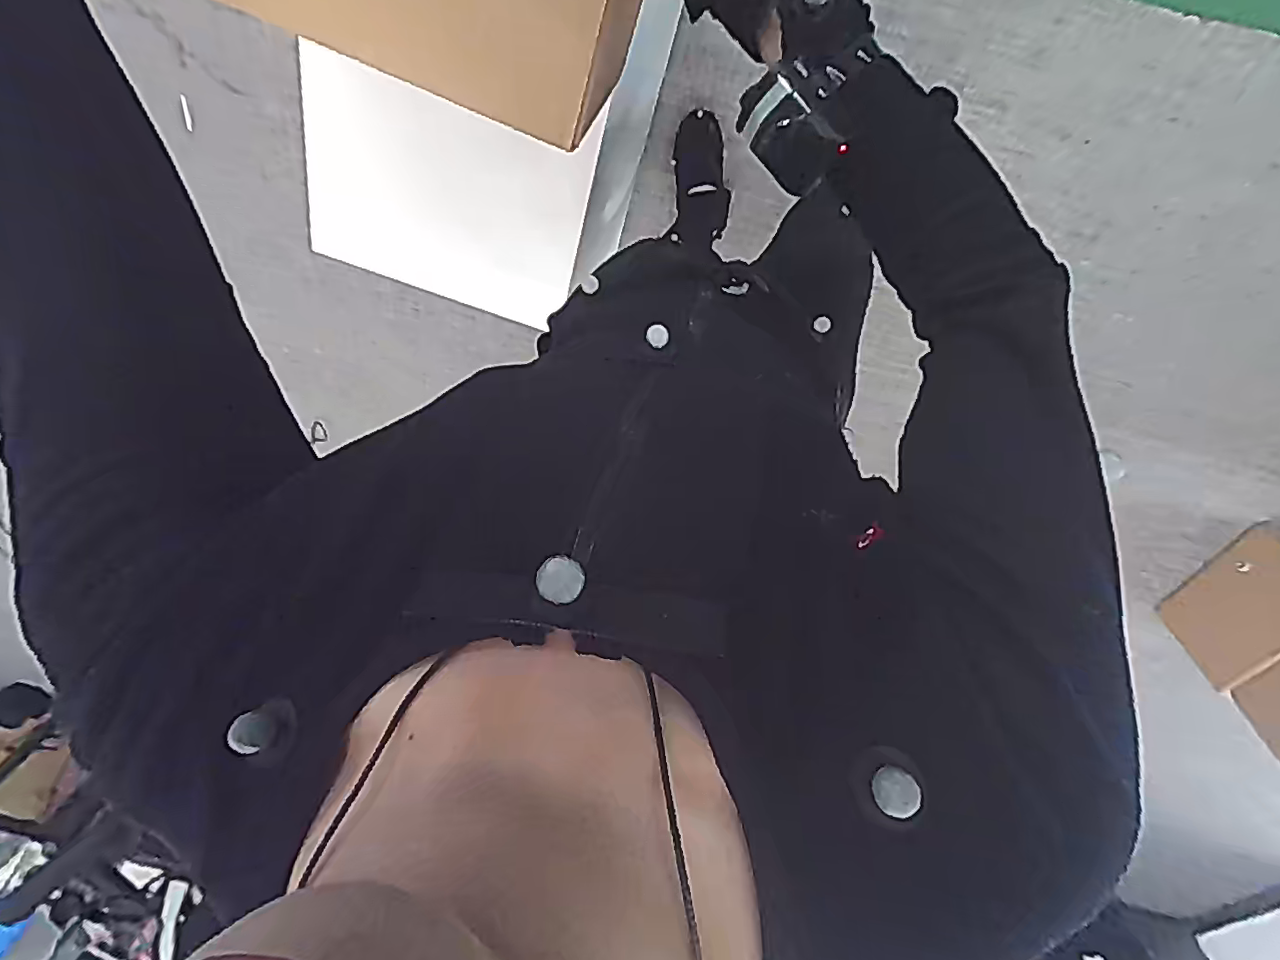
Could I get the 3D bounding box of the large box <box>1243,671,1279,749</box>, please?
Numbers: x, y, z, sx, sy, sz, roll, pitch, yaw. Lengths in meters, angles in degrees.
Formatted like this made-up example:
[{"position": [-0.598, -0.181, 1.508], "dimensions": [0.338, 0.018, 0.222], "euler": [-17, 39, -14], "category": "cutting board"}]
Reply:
[{"position": [1.810, 0.575, 1.254], "dimensions": [0.320, 0.320, 0.408], "euler": [18, 126, 2], "category": "large box"}]
